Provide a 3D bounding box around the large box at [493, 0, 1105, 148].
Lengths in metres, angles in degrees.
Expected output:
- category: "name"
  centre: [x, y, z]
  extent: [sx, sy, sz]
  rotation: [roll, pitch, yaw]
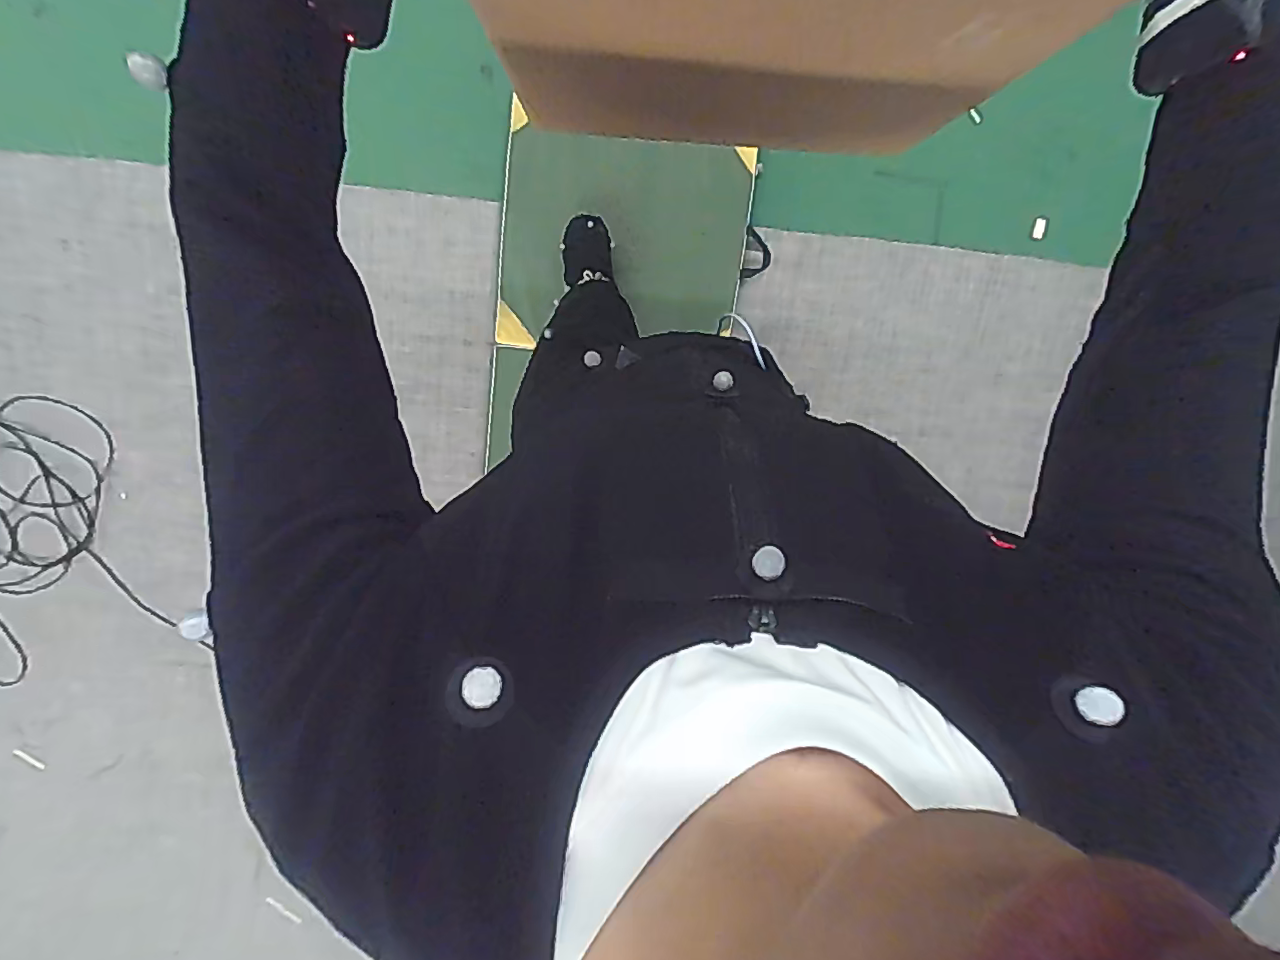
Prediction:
- category: "large box"
  centre: [0.098, -0.479, 0.410]
  extent: [0.408, 0.320, 0.320]
  rotation: [2, 106, -3]
